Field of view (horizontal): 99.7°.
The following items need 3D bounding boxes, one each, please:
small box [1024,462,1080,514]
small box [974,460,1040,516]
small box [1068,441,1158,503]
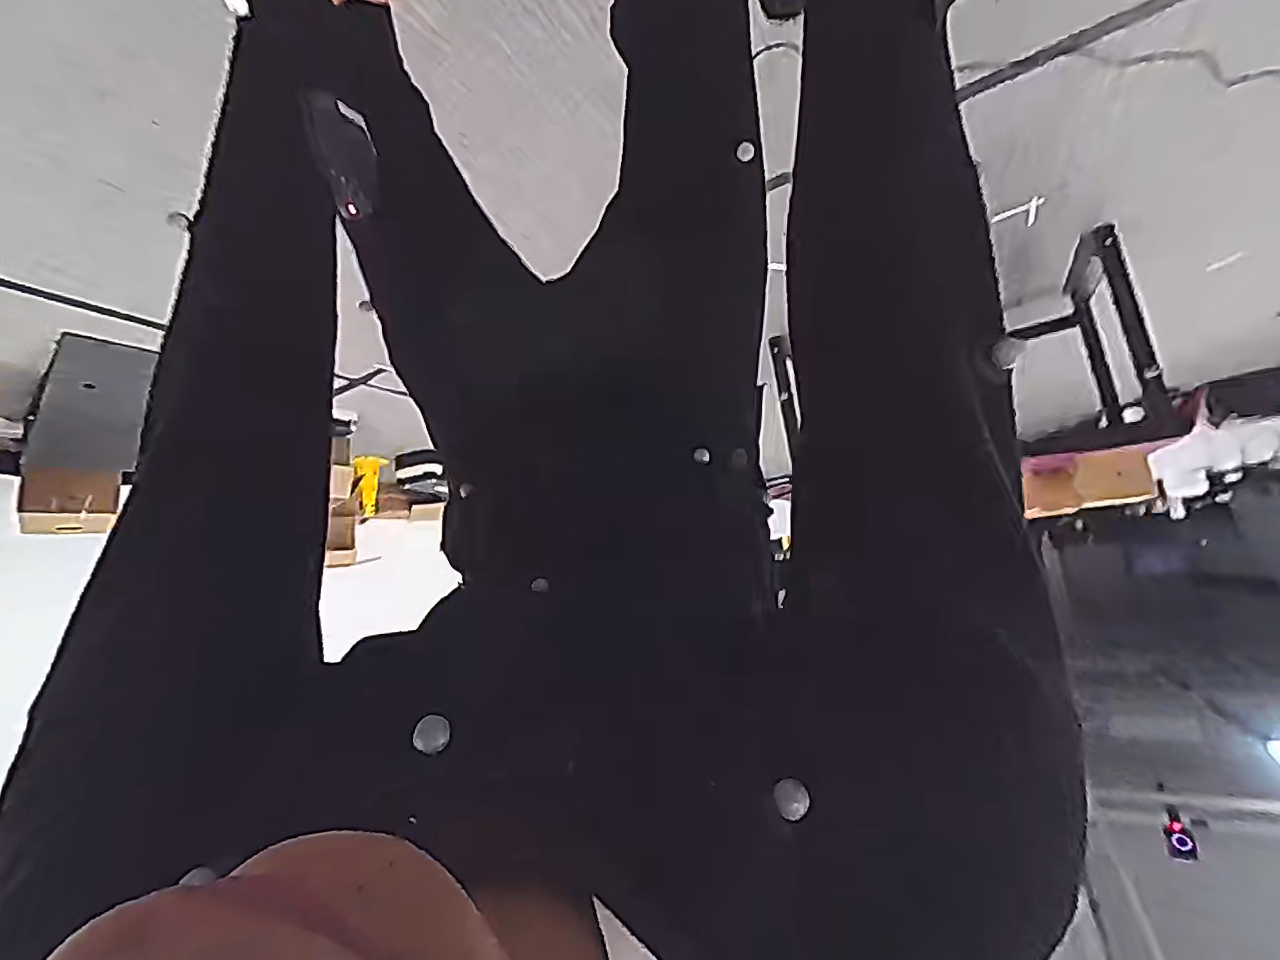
[{"bbox_3d":[1.581,0.033,2.108,0.168,0.176,0.179,-13,167,30],"label":"small box"},{"bbox_3d":[1.323,0.032,1.957,0.168,0.176,0.179,-14,165,30],"label":"small box"},{"bbox_3d":[1.573,-0.024,1.808,0.179,0.176,0.168,-14,166,29],"label":"small box"}]
